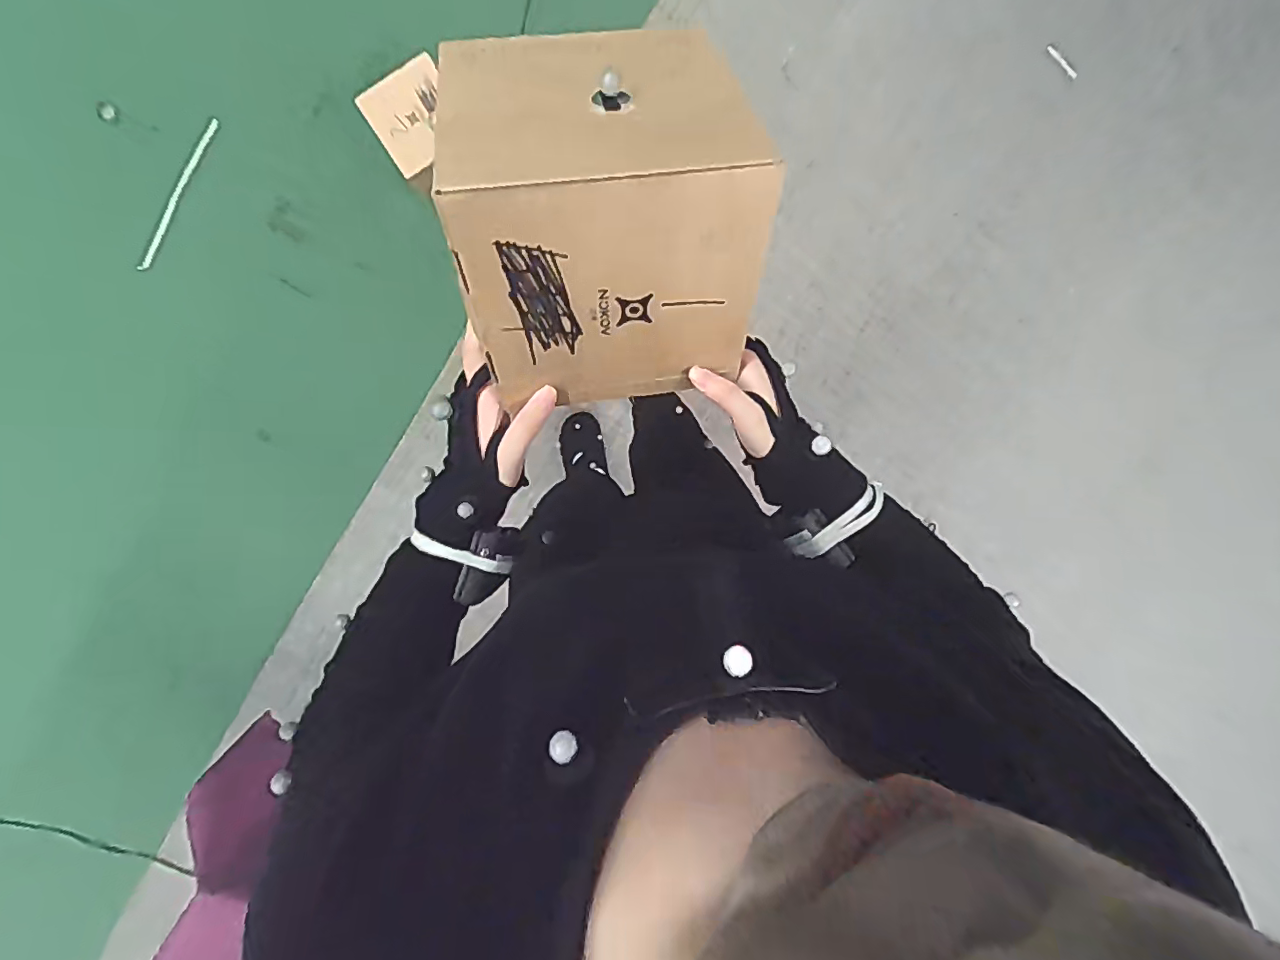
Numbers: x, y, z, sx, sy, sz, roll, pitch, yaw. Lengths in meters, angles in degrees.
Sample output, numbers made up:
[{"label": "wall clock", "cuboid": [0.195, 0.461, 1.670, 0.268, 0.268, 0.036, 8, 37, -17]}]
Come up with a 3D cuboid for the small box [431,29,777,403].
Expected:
[{"label": "small box", "cuboid": [-0.030, -0.179, 0.375, 0.179, 0.176, 0.168, -9, 149, -6]}]
